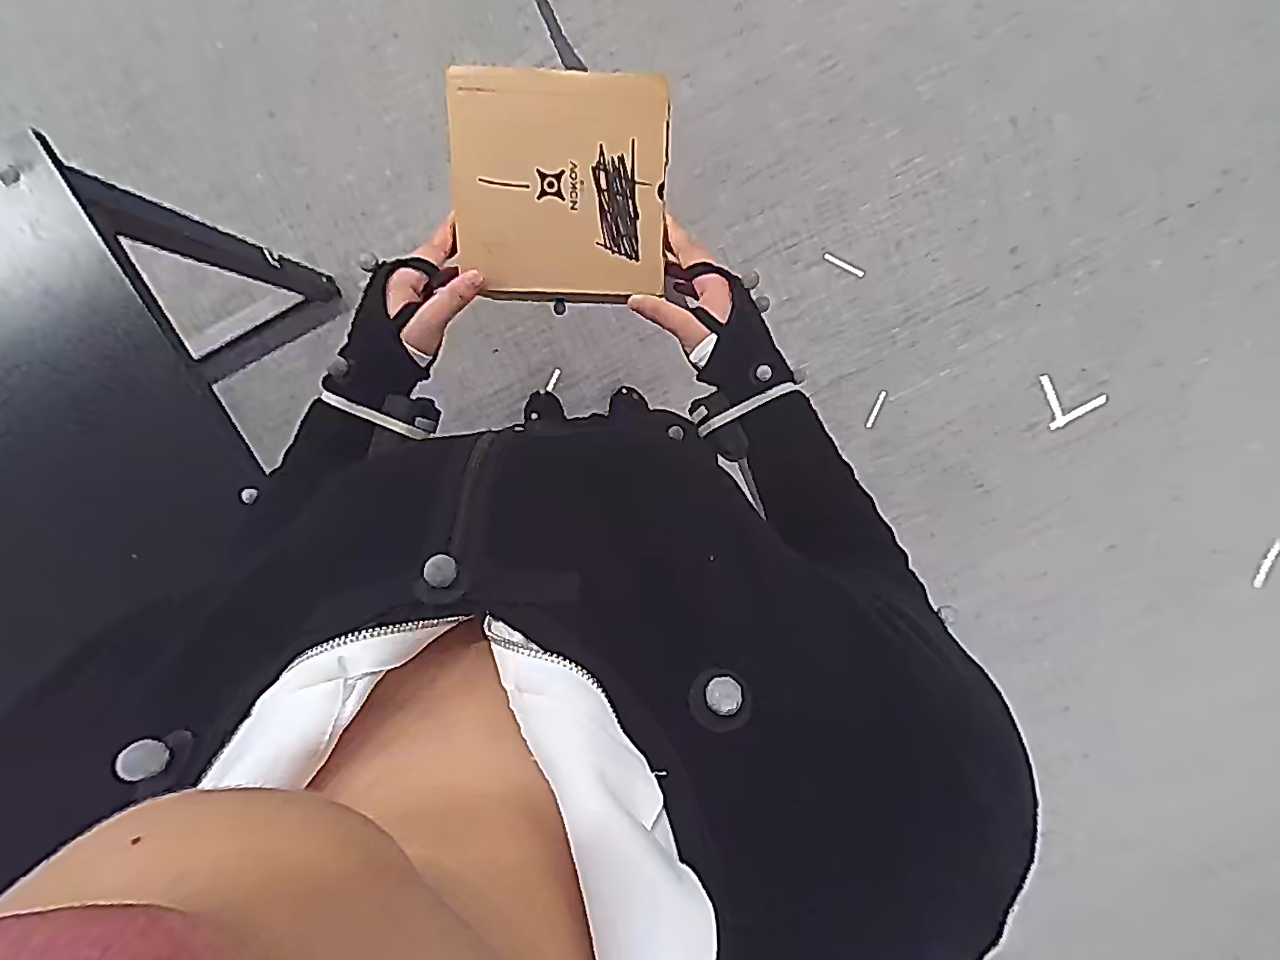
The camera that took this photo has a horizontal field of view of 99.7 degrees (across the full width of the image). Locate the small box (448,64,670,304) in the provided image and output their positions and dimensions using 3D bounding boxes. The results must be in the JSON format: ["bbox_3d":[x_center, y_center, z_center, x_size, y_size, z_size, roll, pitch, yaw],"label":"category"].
[{"bbox_3d":[-0.070,-0.261,0.519,0.179,0.176,0.168,1,105,-3],"label":"small box"}]
